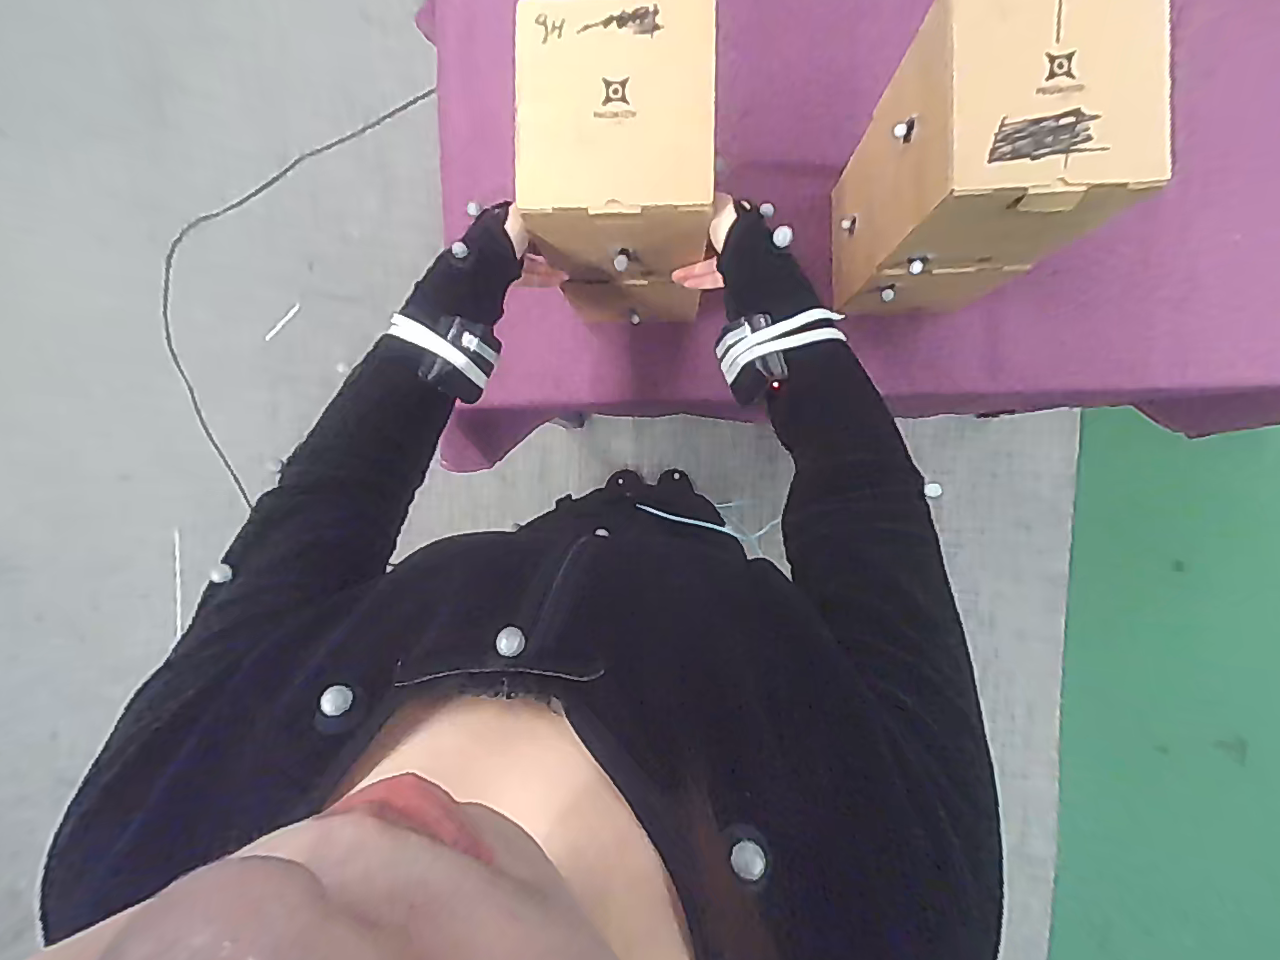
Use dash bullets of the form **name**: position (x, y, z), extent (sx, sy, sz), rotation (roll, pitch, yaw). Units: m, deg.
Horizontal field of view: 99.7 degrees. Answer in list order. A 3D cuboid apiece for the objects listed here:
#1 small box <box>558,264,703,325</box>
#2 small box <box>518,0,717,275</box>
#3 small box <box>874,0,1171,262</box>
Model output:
- **small box**: position (-0.006, -0.308, 0.687), extent (0.168, 0.176, 0.179), rotation (0, 91, 4)
- **small box**: position (-0.015, -0.308, 0.523), extent (0.168, 0.176, 0.179), rotation (0, 92, 3)
- **small box**: position (0.331, -0.315, 0.503), extent (0.168, 0.176, 0.179), rotation (-1, 90, 3)
